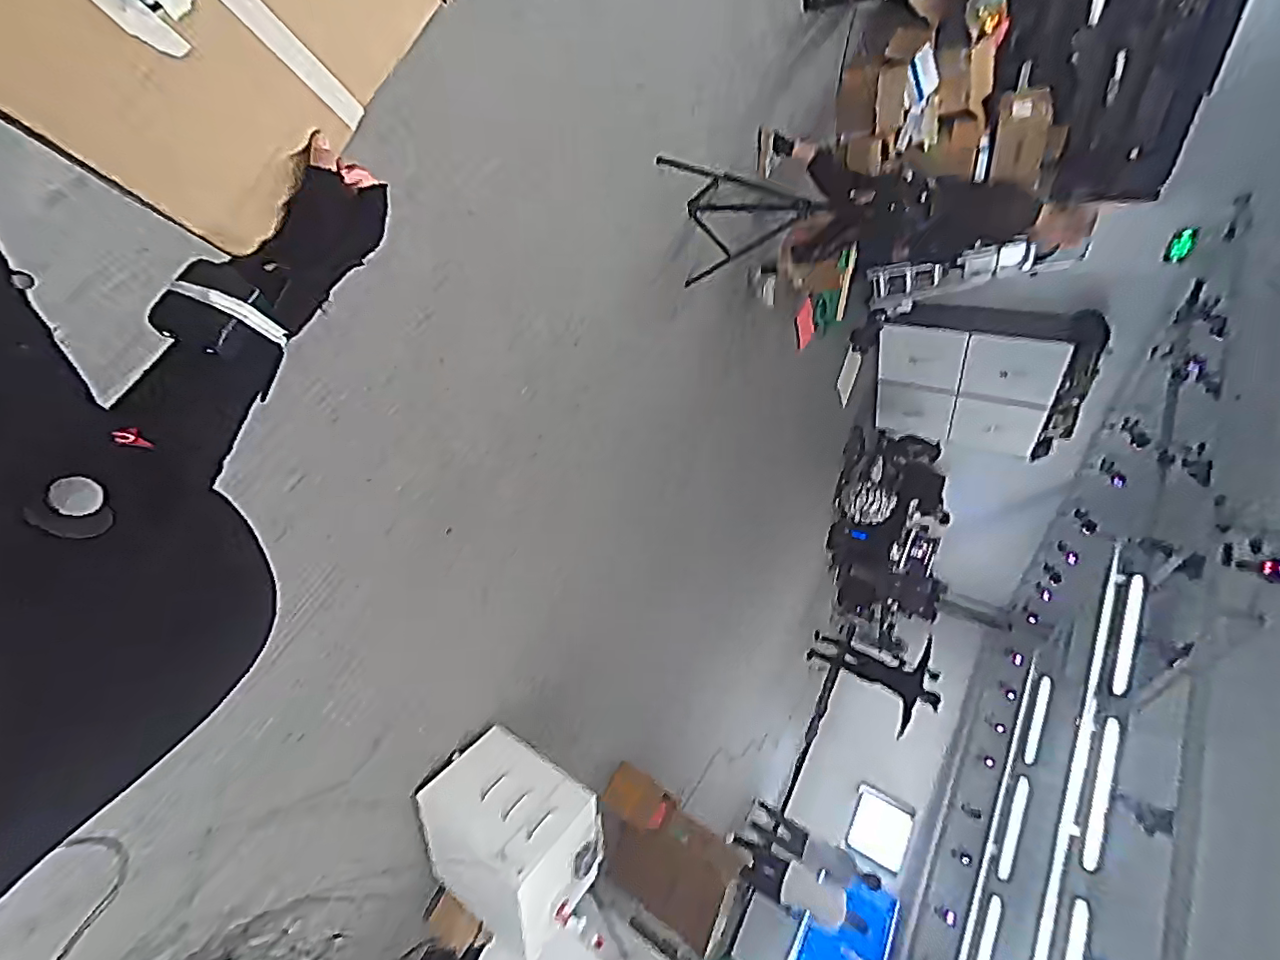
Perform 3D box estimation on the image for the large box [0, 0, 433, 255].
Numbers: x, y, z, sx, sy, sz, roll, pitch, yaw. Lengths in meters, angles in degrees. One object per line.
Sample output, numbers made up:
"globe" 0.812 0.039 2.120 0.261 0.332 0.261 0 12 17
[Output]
"large box" -0.447 -0.442 0.383 0.320 0.320 0.408 -58 150 -3
